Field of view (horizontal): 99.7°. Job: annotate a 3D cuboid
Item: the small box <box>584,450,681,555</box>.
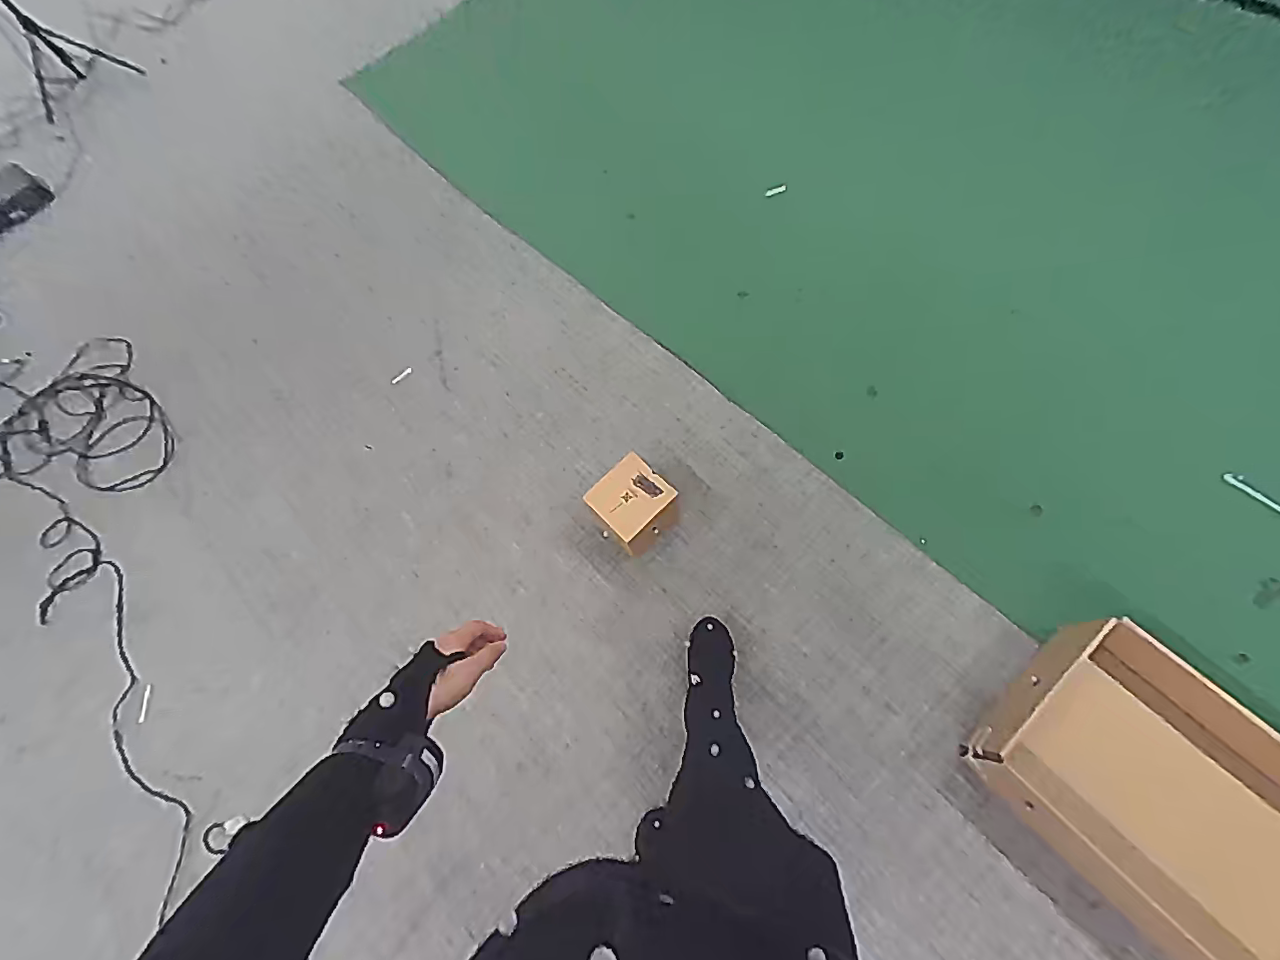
[{"bbox_3d":[-0.014,0.062,1.358,0.179,0.176,0.168,-43,71,-9],"label":"small box"}]
